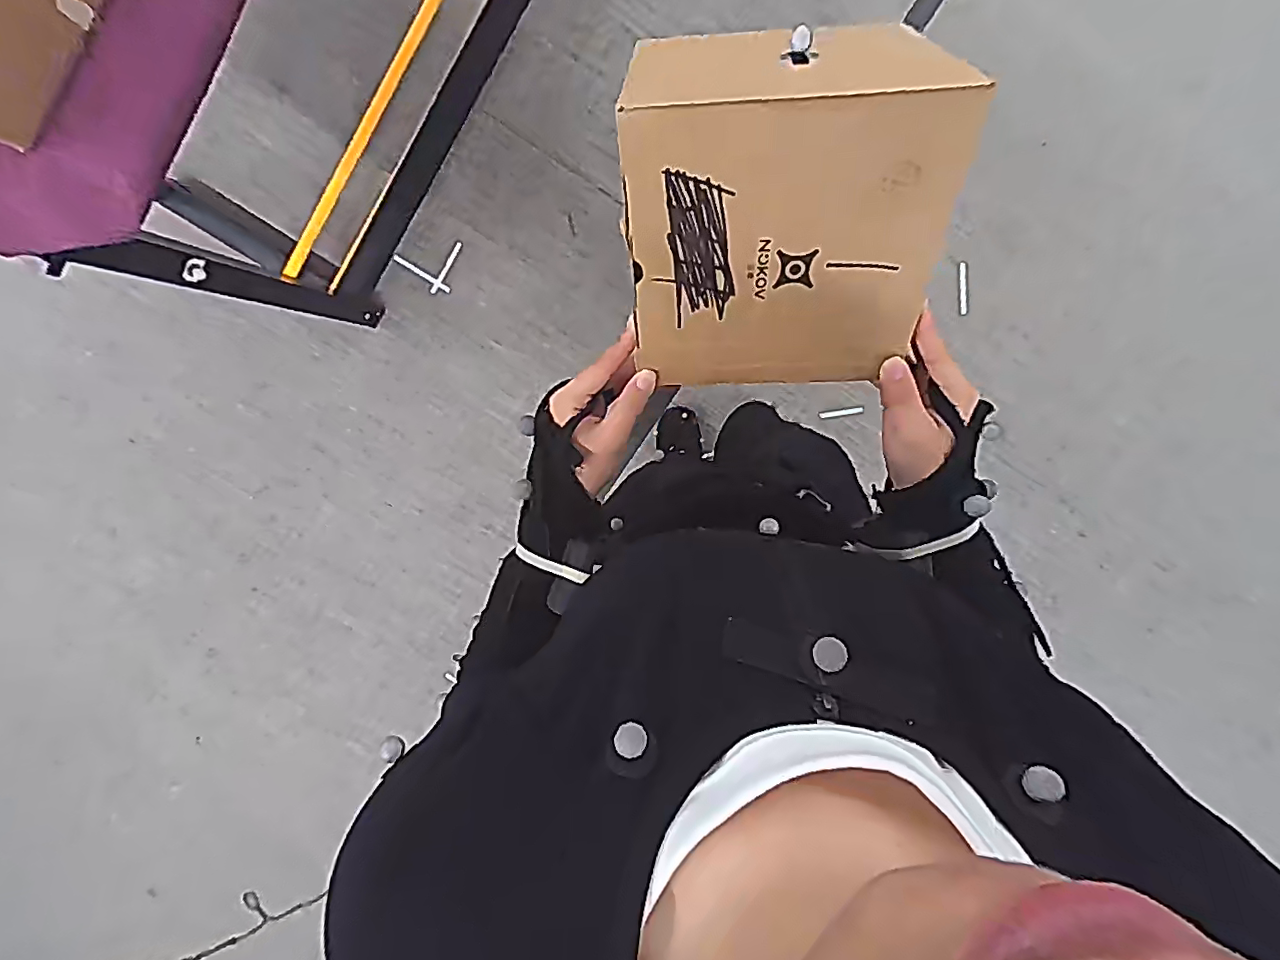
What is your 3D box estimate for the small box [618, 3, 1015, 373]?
[{"bbox_3d":[0.085,-0.187,0.352,0.179,0.176,0.168,-1,138,4],"label":"small box"}]
